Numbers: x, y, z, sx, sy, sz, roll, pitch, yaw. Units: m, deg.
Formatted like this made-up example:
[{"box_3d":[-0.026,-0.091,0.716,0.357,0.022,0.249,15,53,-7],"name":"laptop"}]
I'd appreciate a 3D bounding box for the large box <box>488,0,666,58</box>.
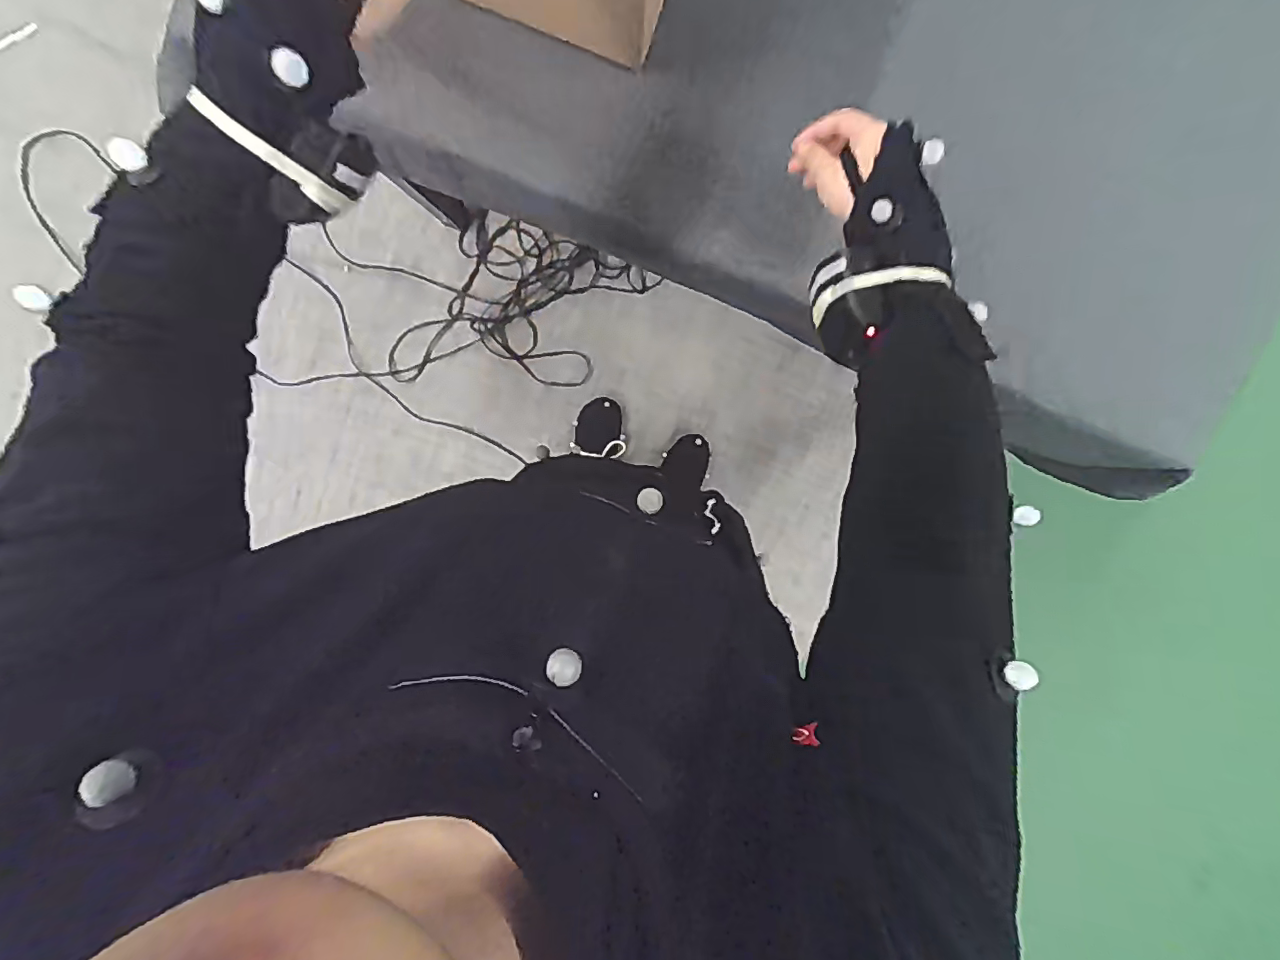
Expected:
[{"box_3d":[-0.126,-0.593,0.358,0.408,0.320,0.320,18,100,-7],"name":"large box"}]
